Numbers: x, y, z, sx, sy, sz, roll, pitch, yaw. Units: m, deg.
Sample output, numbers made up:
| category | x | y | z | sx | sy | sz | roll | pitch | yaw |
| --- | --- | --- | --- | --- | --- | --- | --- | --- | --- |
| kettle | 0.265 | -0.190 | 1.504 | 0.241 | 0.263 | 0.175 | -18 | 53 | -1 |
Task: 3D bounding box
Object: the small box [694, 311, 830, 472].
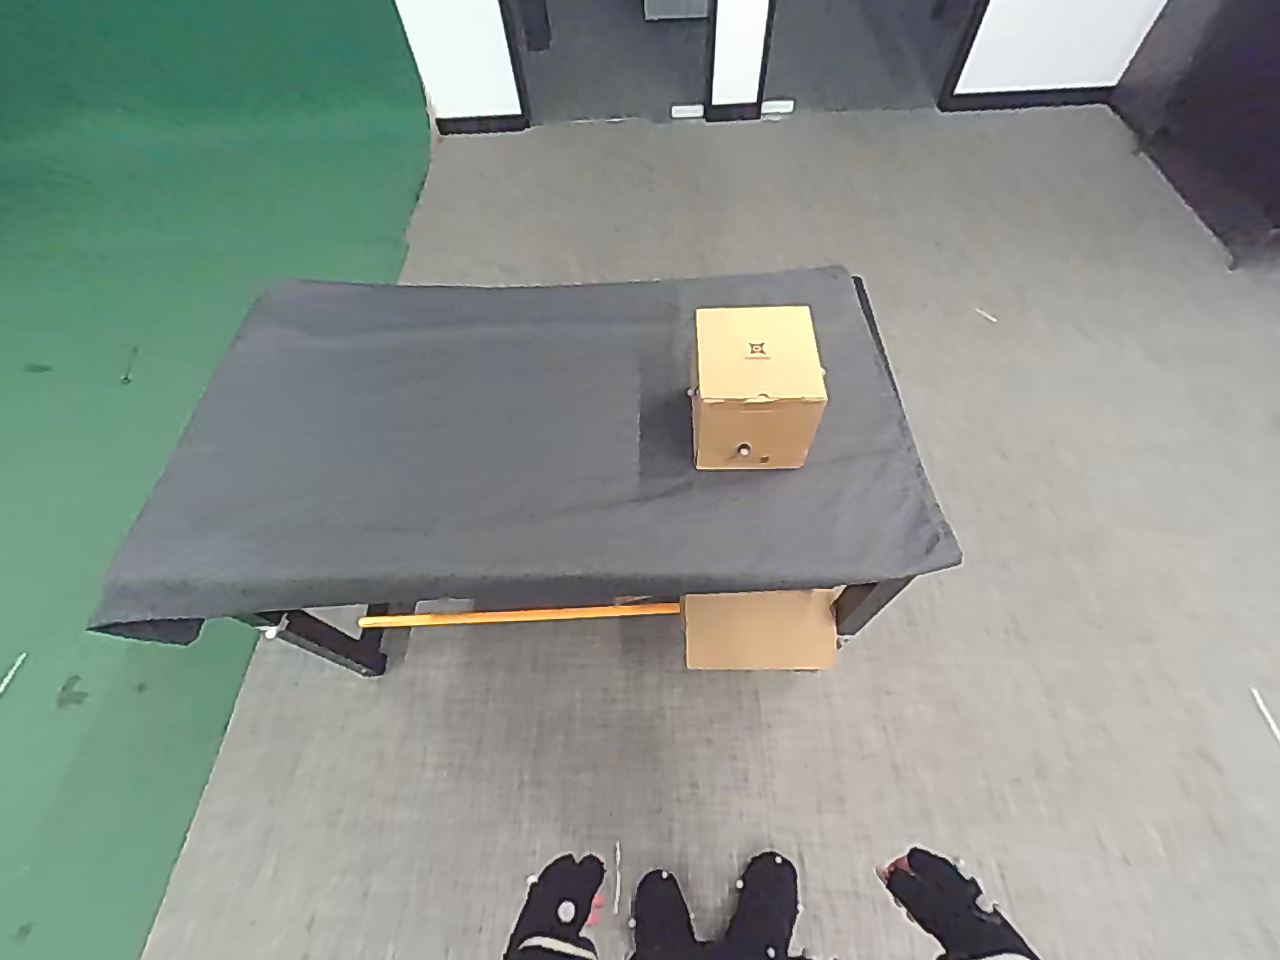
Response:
| category | x | y | z | sx | sy | sz | roll | pitch | yaw |
| --- | --- | --- | --- | --- | --- | --- | --- | --- | --- |
| small box | 0.169 | -0.130 | 0.812 | 0.168 | 0.176 | 0.179 | -1 | 59 | 3 |
